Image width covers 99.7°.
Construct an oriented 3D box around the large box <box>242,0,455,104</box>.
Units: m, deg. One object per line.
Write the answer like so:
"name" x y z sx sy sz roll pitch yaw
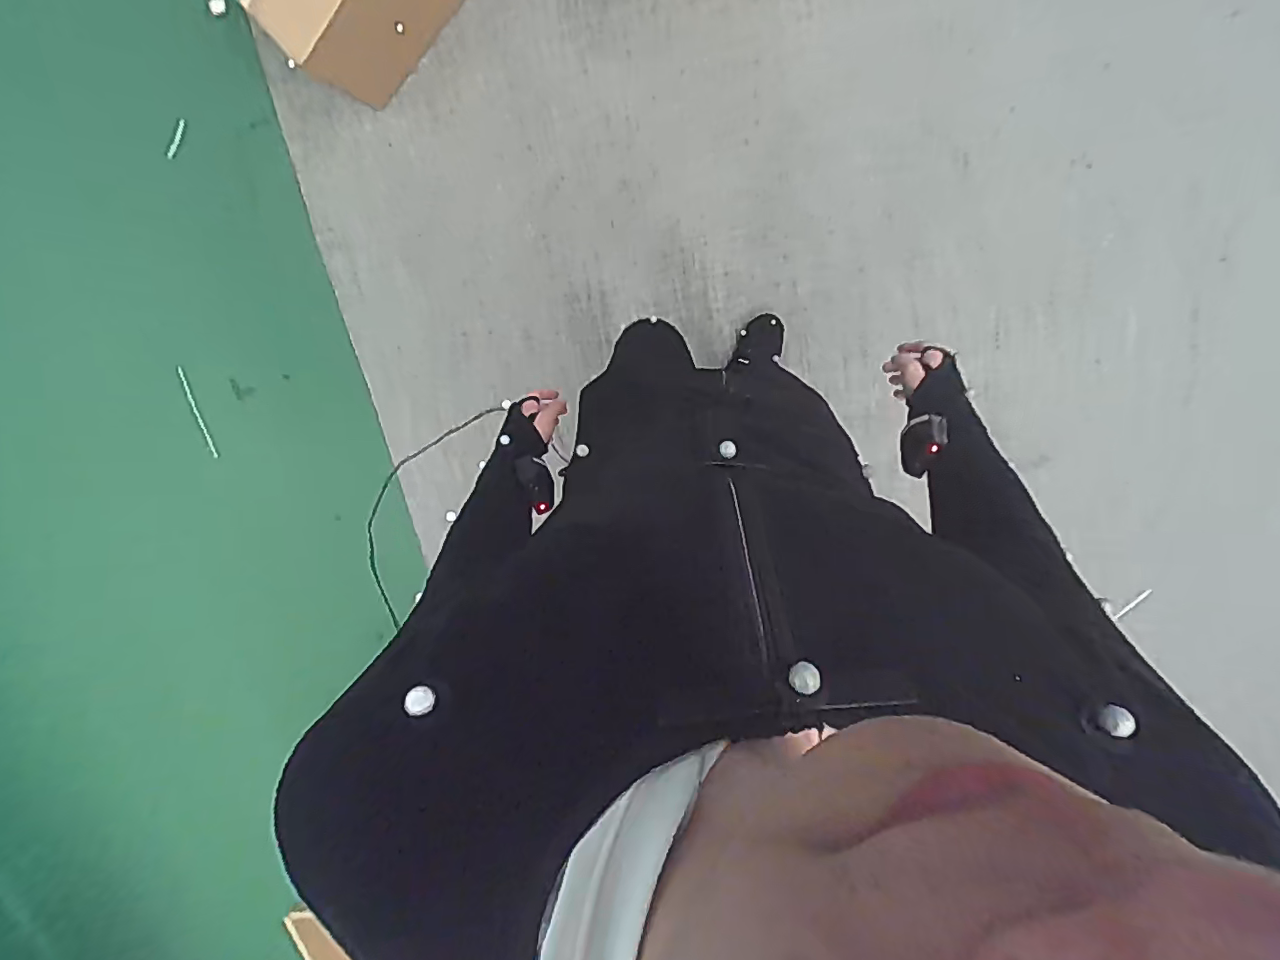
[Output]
"large box" -0.669 -1.177 1.220 0.408 0.320 0.320 -39 99 19
